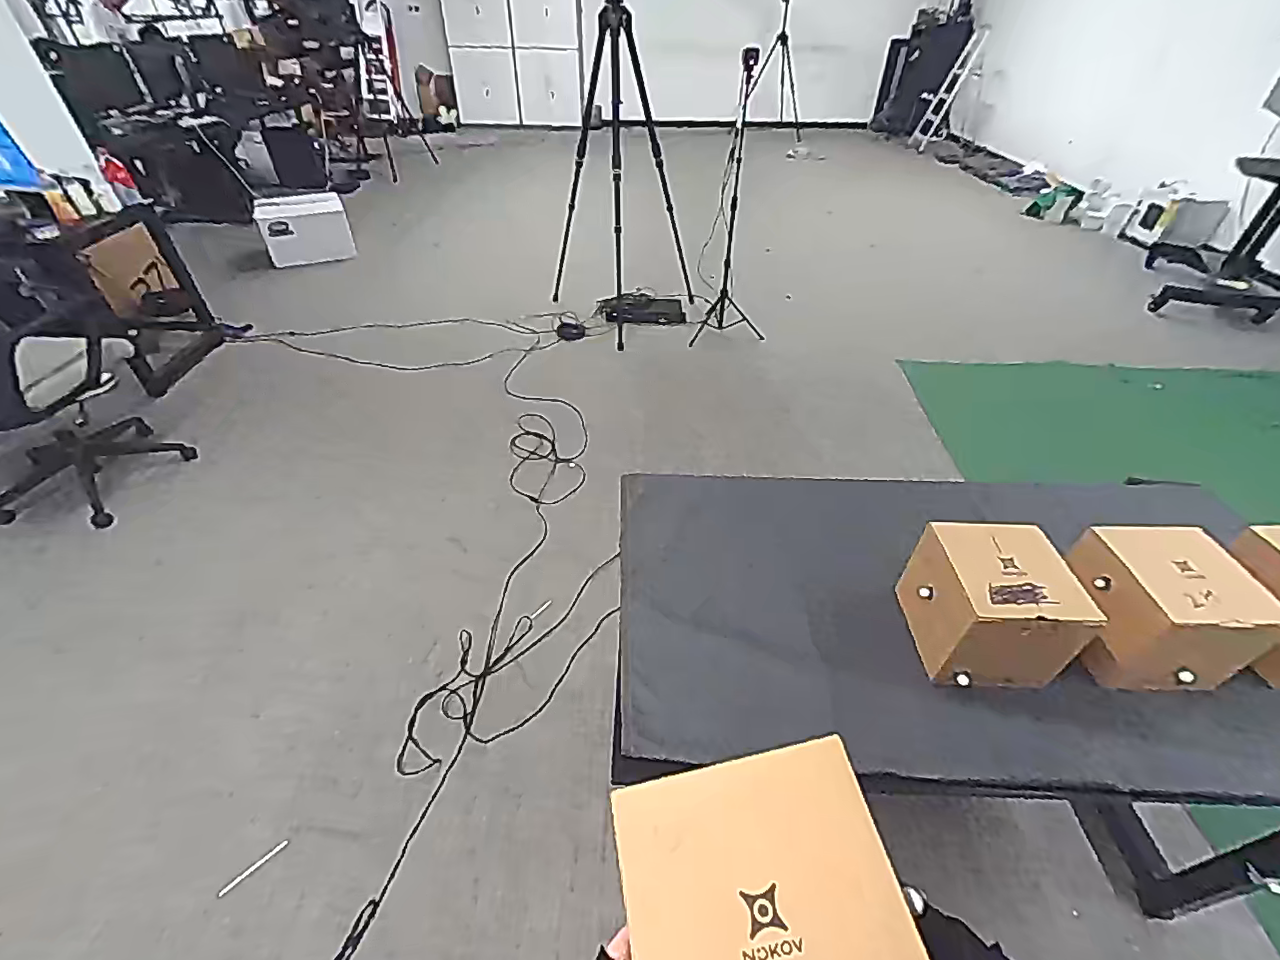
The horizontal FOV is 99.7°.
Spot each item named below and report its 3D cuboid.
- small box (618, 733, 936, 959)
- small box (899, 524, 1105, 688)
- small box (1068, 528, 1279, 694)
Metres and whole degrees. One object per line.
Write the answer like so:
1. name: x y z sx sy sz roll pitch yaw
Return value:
1. small box: 0.088 0.307 0.378 0.168 0.176 0.179 -14 50 0
2. small box: 0.514 0.187 0.801 0.168 0.176 0.179 2 40 1
3. small box: 0.757 0.191 0.799 0.168 0.176 0.179 1 41 0
